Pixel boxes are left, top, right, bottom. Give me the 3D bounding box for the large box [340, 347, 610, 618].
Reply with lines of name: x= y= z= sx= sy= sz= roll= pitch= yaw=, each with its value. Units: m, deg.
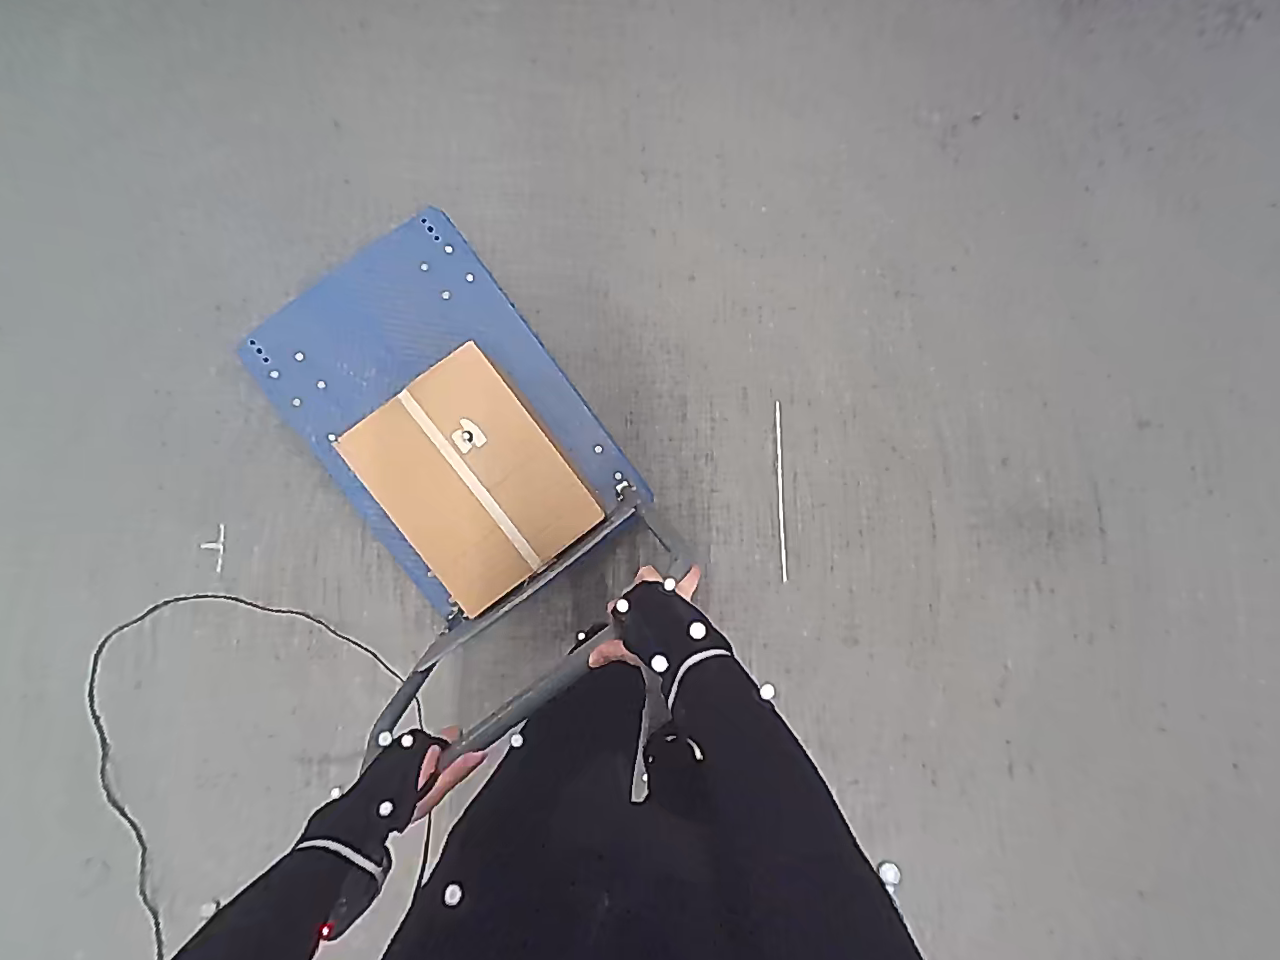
large box: x=-0.301 y=0.006 z=1.120 sx=0.320 sy=0.320 sz=0.408 roll=-38 pitch=92 yaw=-3
